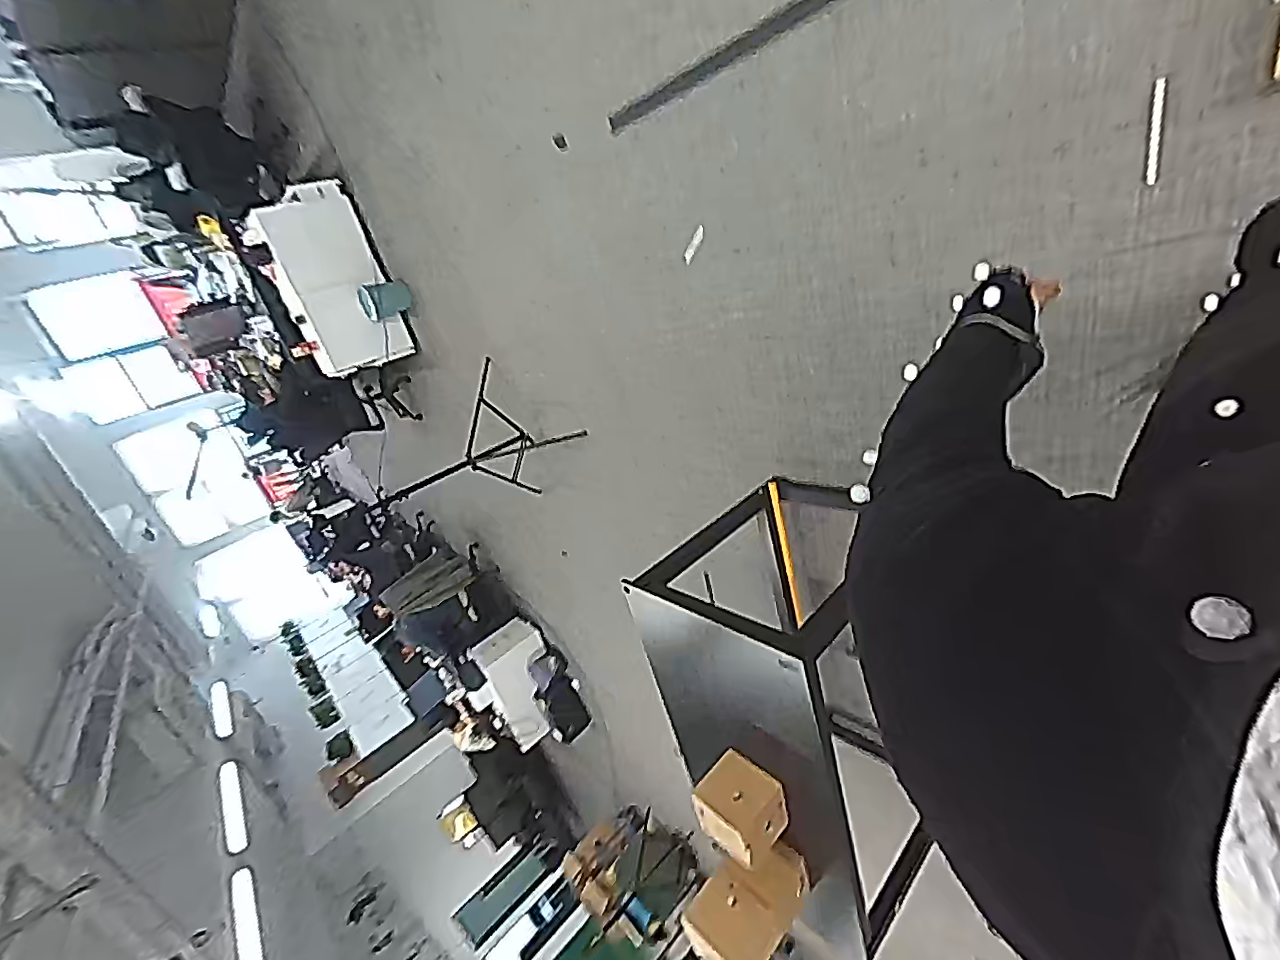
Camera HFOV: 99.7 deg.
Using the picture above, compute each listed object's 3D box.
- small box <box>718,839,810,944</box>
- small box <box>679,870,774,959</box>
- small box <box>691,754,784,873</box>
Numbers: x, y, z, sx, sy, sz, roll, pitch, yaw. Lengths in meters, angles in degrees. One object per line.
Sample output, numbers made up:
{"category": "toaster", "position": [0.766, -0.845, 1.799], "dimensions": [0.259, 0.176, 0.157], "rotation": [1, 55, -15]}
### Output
{"category": "small box", "position": [0.356, 1.141, 1.542], "dimensions": [0.179, 0.176, 0.168], "rotation": [10, 125, 49]}
{"category": "small box", "position": [0.238, 1.214, 1.453], "dimensions": [0.168, 0.176, 0.179], "rotation": [10, 124, 50]}
{"category": "small box", "position": [0.267, 0.877, 1.442], "dimensions": [0.179, 0.176, 0.168], "rotation": [15, 127, 47]}
